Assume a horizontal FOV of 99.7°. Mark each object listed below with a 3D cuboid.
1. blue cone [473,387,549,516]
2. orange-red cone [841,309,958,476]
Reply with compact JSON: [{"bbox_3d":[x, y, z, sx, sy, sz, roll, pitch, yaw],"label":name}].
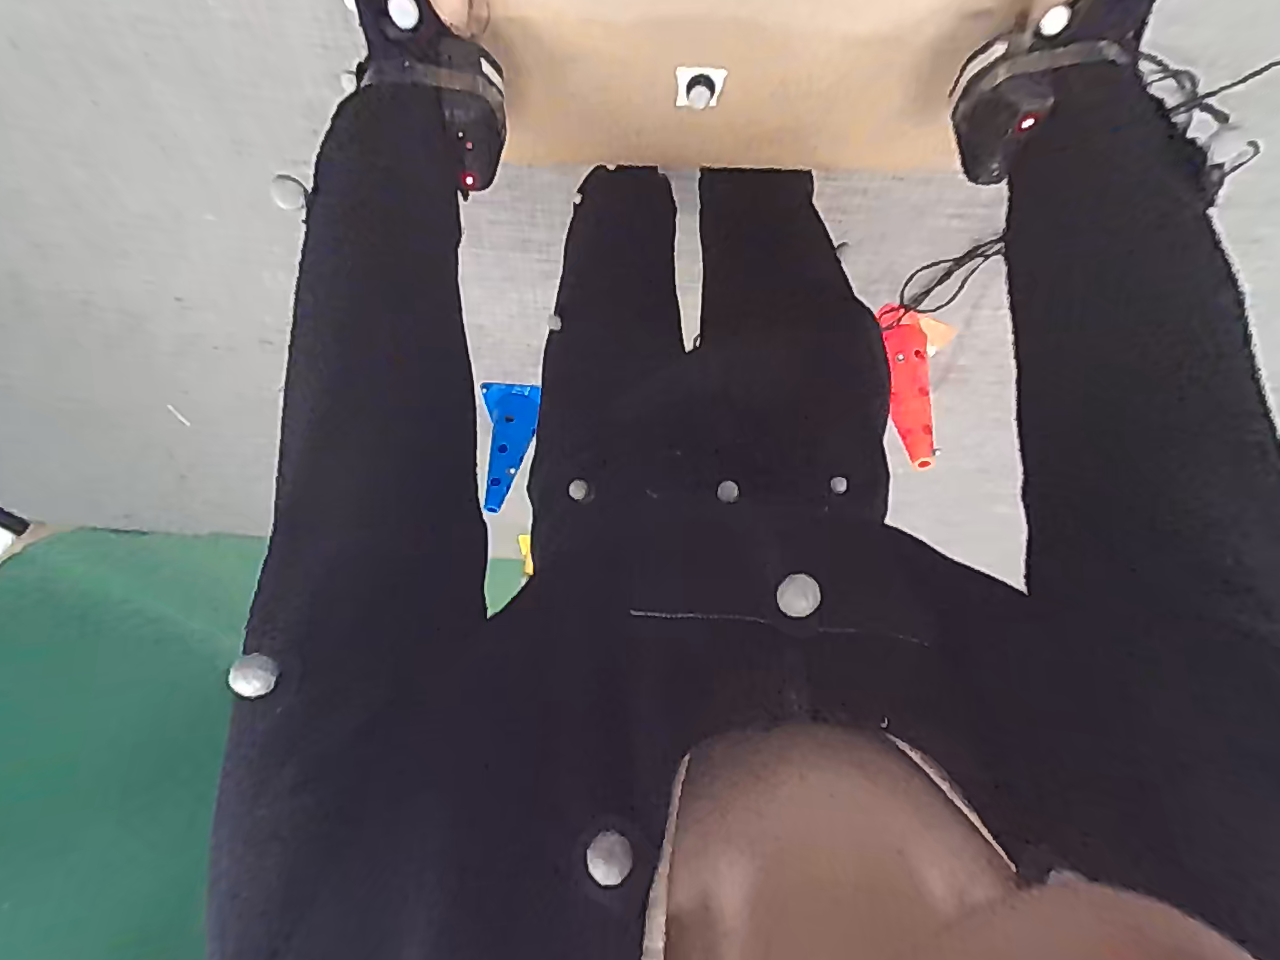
[{"bbox_3d":[-0.383,-0.069,1.494,0.192,0.380,0.193,6,145,2],"label":"blue cone"},{"bbox_3d":[0.589,-0.163,1.170,0.199,0.360,0.198,16,145,-15],"label":"orange-red cone"}]
